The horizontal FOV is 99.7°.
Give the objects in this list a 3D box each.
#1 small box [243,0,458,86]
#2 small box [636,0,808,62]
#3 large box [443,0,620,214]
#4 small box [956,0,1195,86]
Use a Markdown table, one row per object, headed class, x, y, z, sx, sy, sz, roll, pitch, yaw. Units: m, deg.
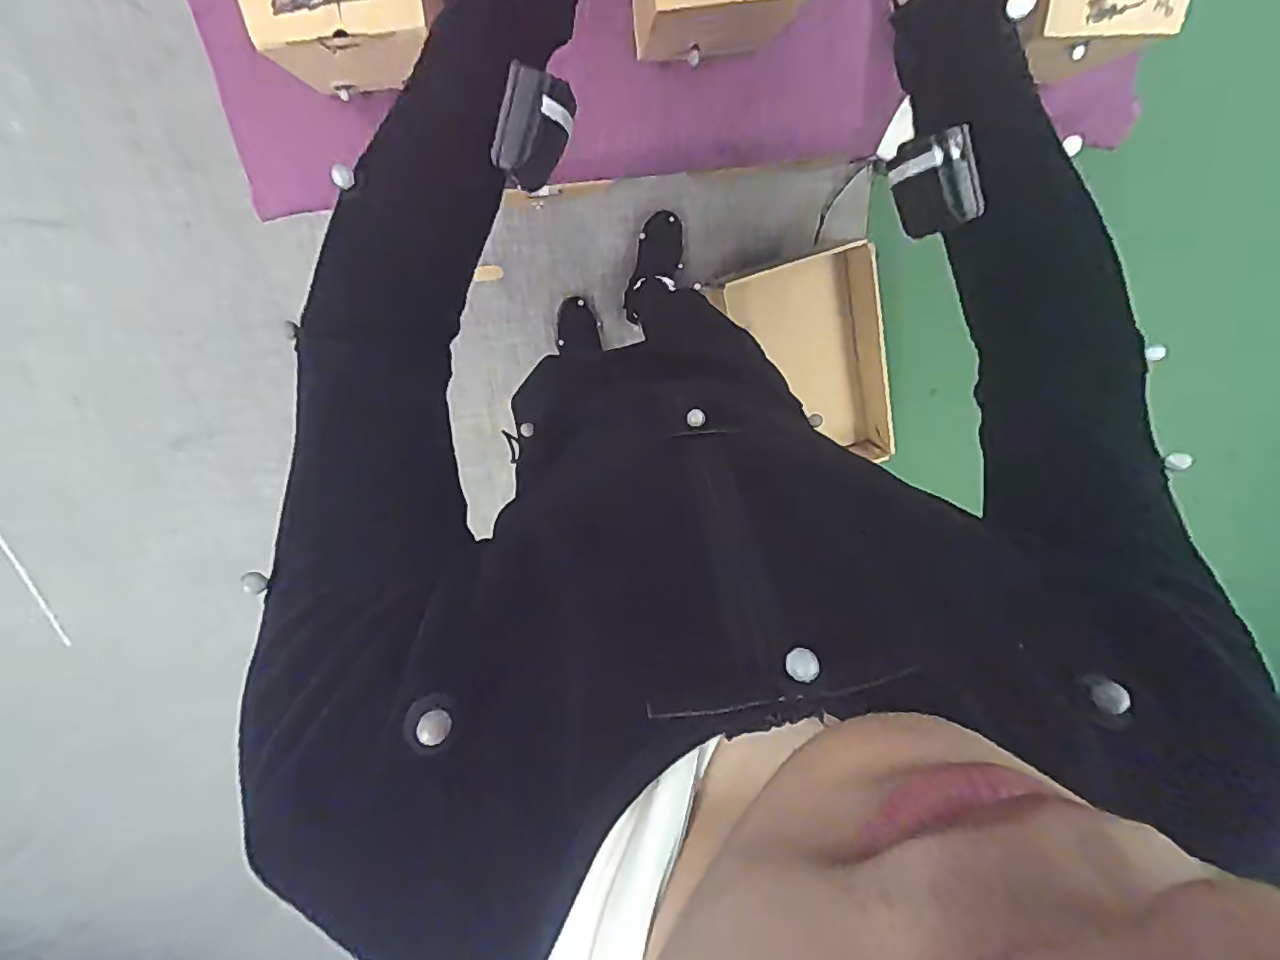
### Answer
| class | x | y | z | sx | sy | sz | roll | pitch | yaw |
| --- | --- | --- | --- | --- | --- | --- | --- | --- | --- |
| small box | -0.299 | -0.531 | 0.555 | 0.168 | 0.176 | 0.179 | -9 | 112 | -4 |
| small box | 0.080 | -0.589 | 0.581 | 0.168 | 0.176 | 0.179 | -8 | 113 | -3 |
| large box | -0.235 | -0.827 | 1.163 | 0.320 | 0.320 | 0.408 | -10 | 112 | -4 |
| small box | 0.504 | -0.593 | 0.631 | 0.168 | 0.176 | 0.179 | -5 | 110 | -4 |
